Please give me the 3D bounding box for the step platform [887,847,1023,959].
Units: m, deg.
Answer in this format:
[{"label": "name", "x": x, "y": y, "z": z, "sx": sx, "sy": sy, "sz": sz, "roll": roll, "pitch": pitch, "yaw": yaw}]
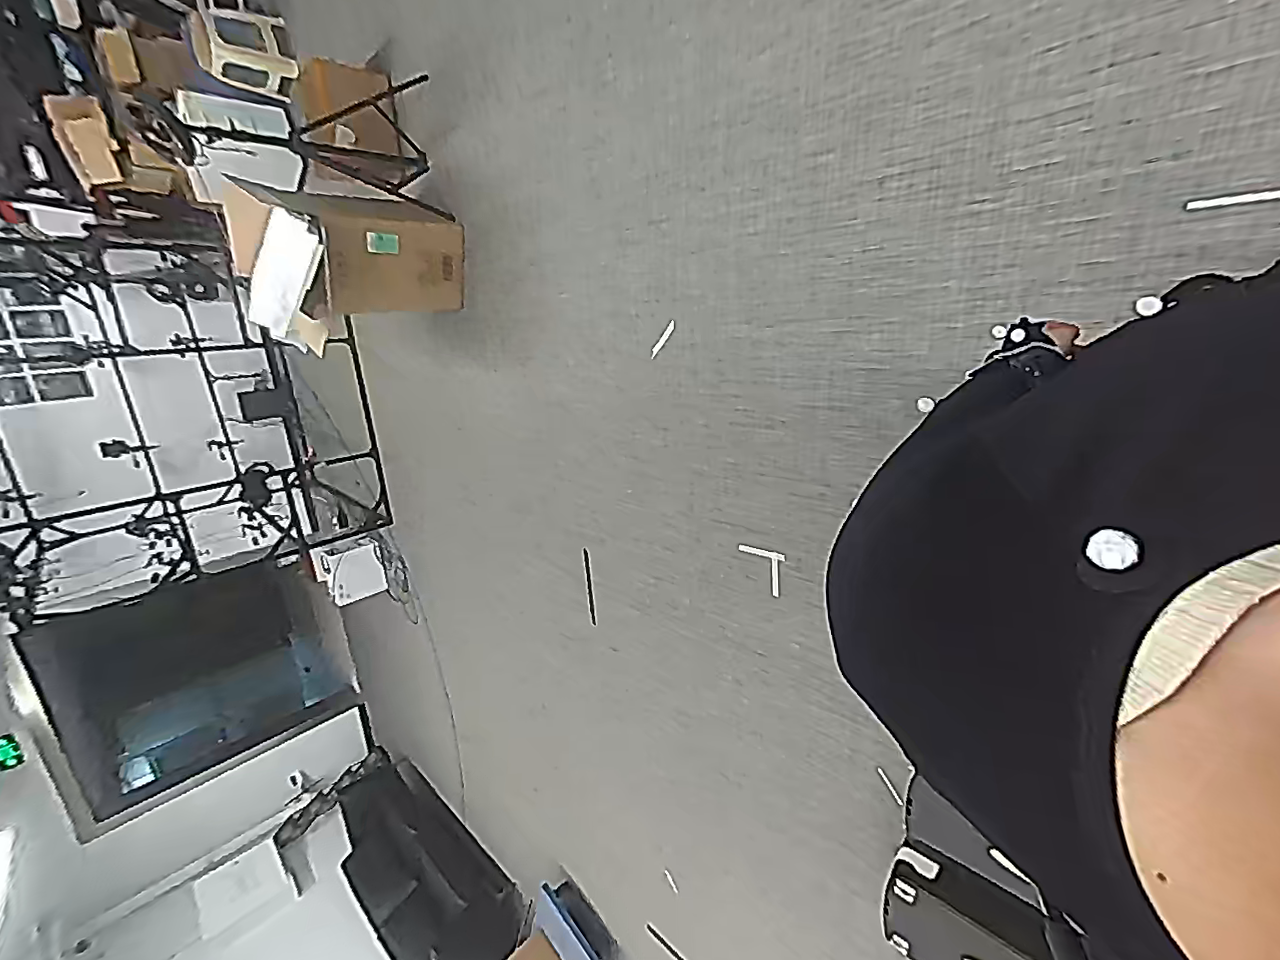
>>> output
[{"label": "step platform", "x": 0.985, "y": 1.281, "z": 1.333, "sx": 0.684, "sy": 0.204, "sz": 0.286, "roll": 20, "pitch": 116, "yaw": 43}]
